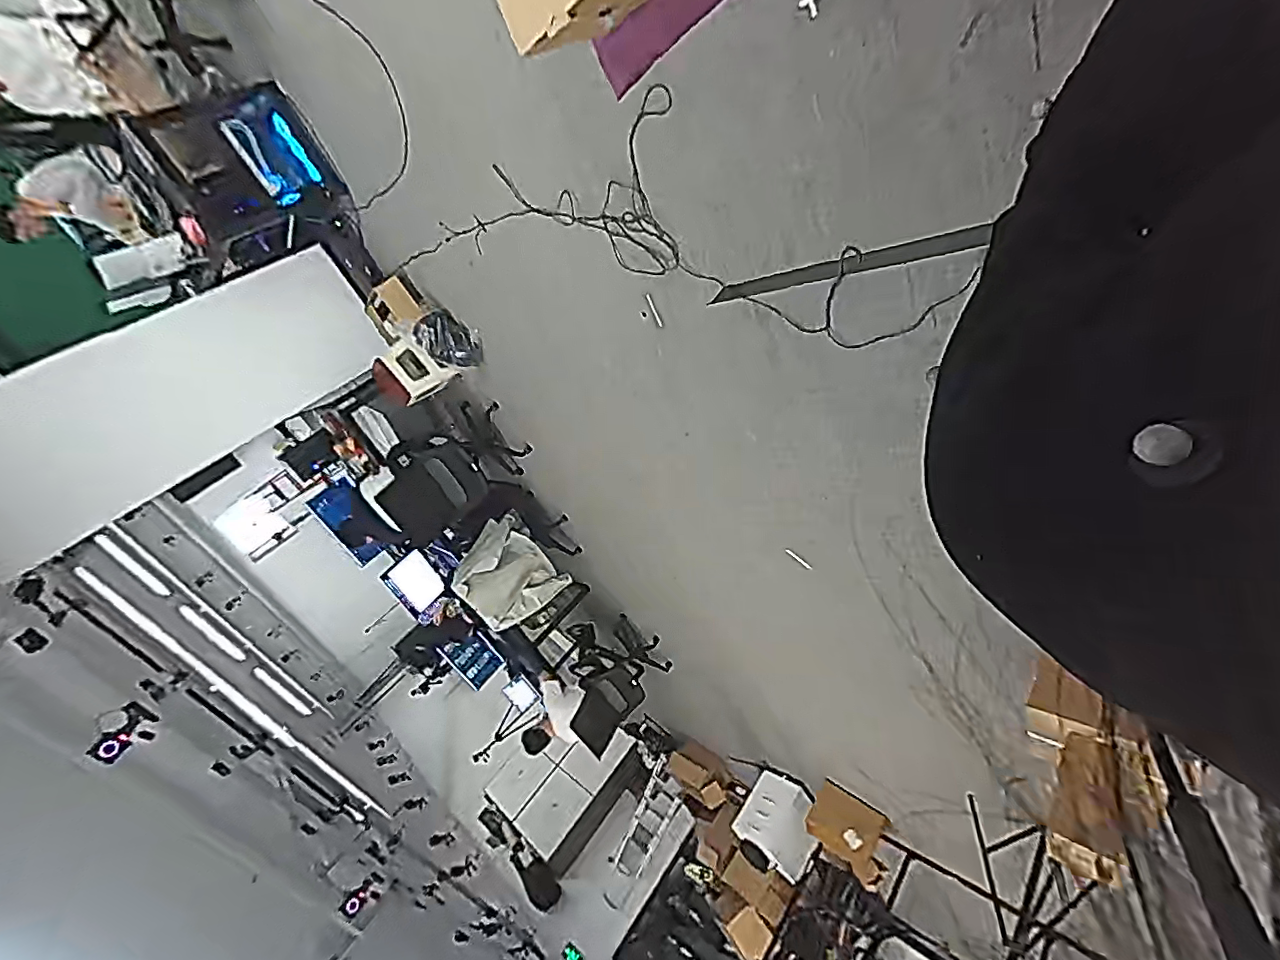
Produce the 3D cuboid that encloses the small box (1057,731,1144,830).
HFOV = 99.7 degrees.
[{"bbox_3d":[1.389,0.894,1.626,0.179,0.176,0.168,6,132,50],"label":"small box"}]

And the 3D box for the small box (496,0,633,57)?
[{"bbox_3d":[-0.081,-0.652,0.634,0.168,0.176,0.179,7,134,47],"label":"small box"}]
